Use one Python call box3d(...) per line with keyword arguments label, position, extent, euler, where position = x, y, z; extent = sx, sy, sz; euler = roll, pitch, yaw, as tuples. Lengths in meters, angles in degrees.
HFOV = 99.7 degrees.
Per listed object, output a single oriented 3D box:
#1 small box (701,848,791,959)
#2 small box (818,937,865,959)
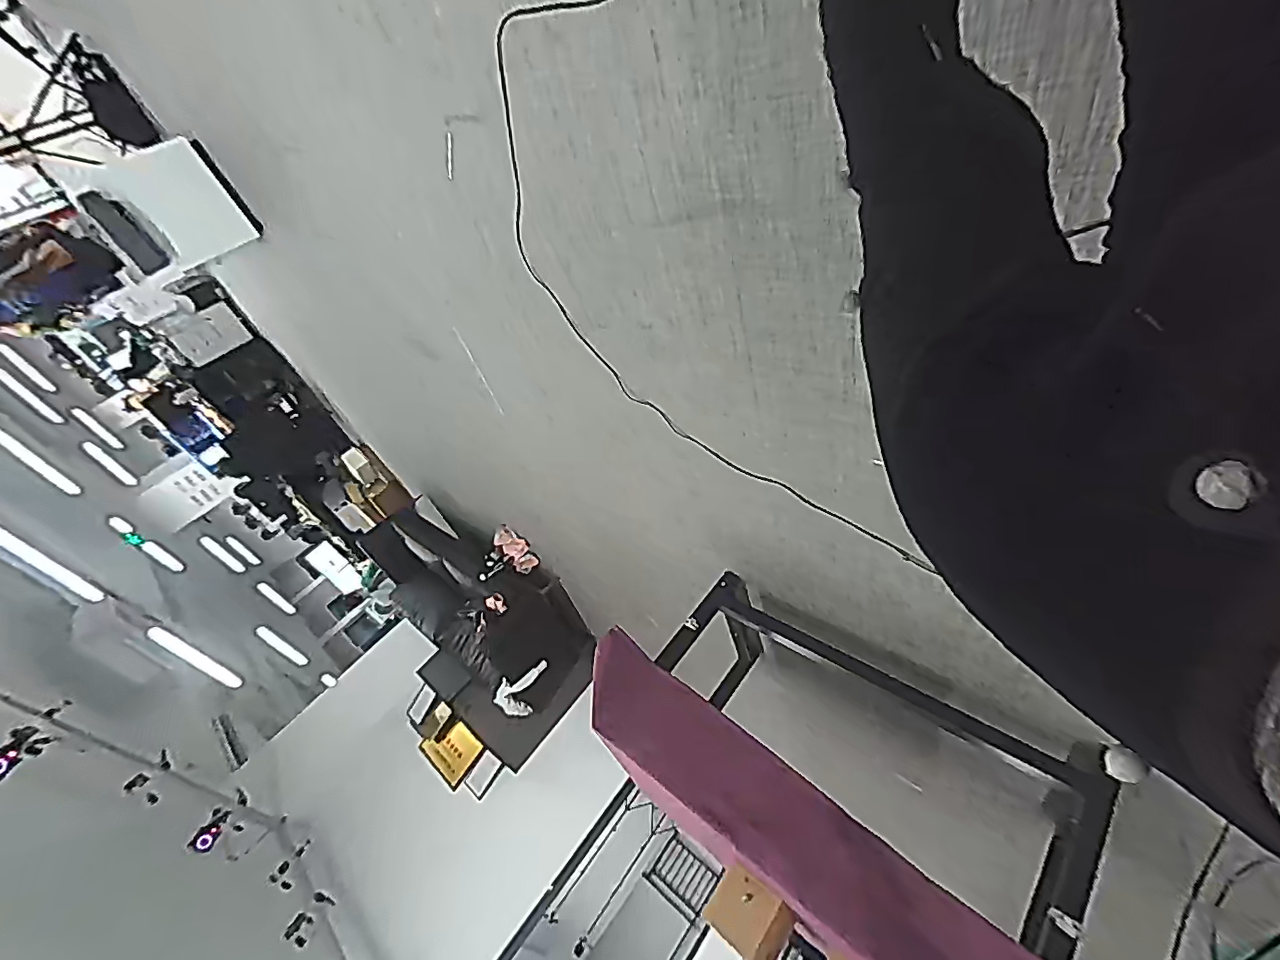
box3d(label="small box", position=(0.304, 1.190, 1.519), extent=(0.168, 0.176, 0.179), euler=(15, 141, 45))
box3d(label="small box", position=(0.516, 1.268, 1.322), extent=(0.179, 0.176, 0.168), euler=(20, 146, 41))
